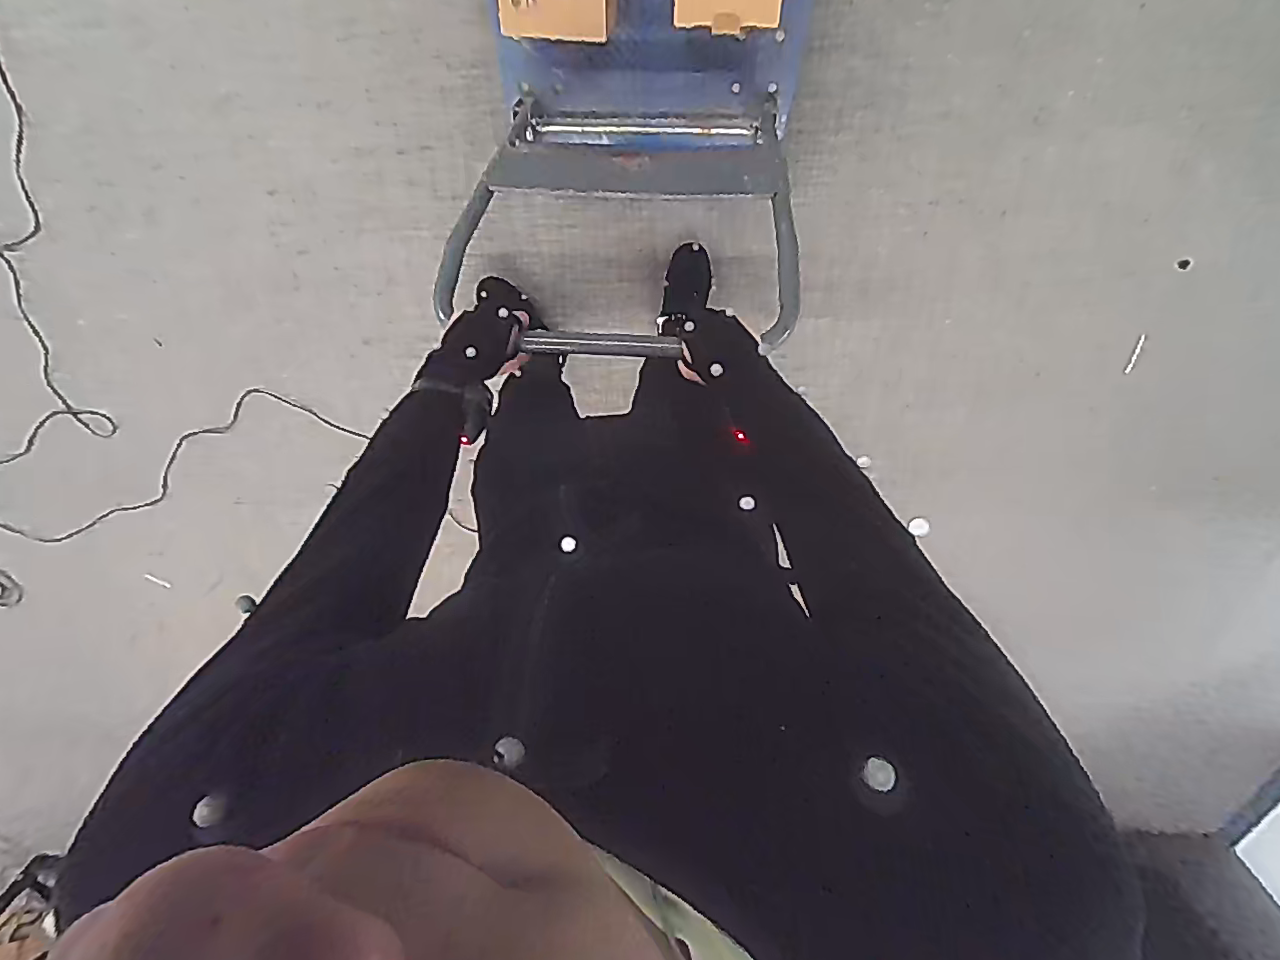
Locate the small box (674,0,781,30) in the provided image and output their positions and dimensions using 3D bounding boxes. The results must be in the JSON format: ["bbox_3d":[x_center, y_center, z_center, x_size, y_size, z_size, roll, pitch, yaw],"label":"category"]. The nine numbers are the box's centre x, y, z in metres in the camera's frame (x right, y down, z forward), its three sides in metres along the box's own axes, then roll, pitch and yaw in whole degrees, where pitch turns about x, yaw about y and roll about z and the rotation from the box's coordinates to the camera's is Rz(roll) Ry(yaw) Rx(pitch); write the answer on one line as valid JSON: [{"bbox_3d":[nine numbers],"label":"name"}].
[{"bbox_3d":[0.141,-0.835,0.846,0.168,0.176,0.179,3,140,3],"label":"small box"}]
